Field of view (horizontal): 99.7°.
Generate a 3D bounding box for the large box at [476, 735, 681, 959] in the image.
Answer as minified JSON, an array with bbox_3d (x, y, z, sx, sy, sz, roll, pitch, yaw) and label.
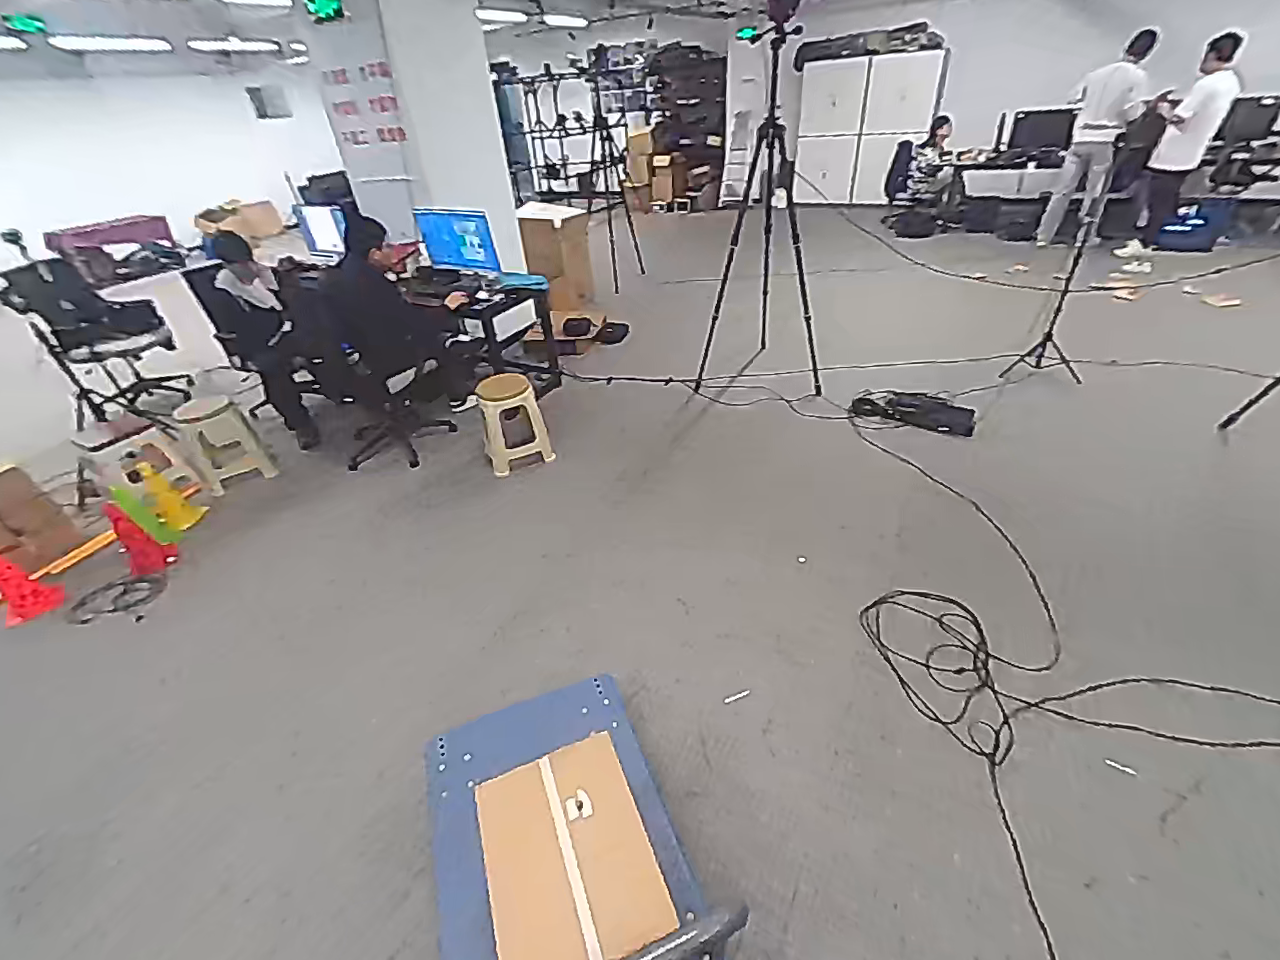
[{"bbox_3d":[-0.135,0.862,1.164,0.320,0.320,0.408,-16,35,-16],"label":"large box"}]
